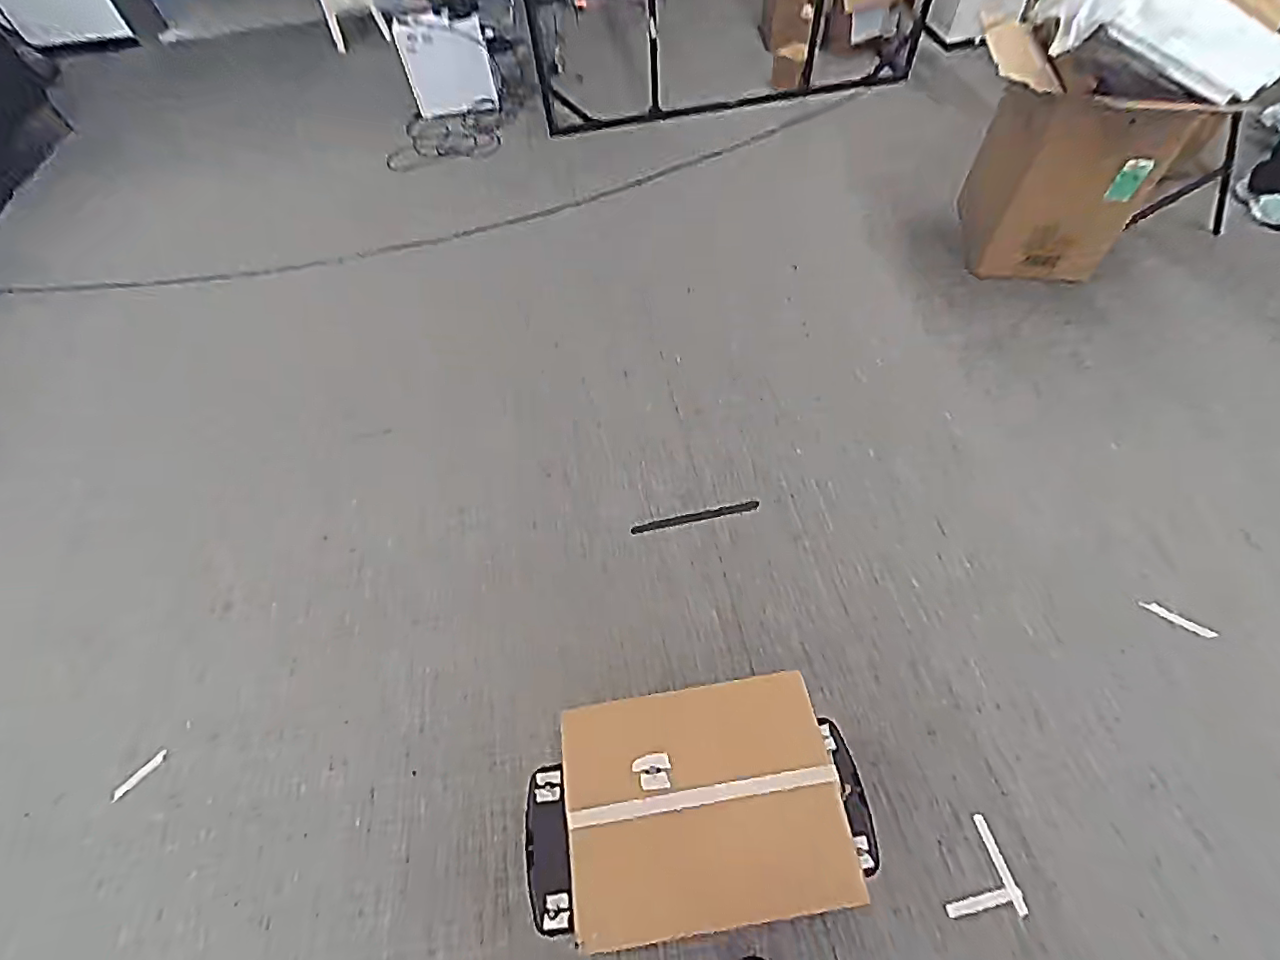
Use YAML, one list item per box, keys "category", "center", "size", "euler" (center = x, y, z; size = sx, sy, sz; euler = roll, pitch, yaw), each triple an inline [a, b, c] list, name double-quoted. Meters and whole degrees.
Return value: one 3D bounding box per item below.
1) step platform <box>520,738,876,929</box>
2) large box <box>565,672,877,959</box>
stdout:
- category: "step platform"
  center: [0.106, 0.708, 1.101]
  size: [0.684, 0.204, 0.286]
  euler: [-6, 57, 2]
- category: "large box"
  center: [0.112, 0.551, 0.917]
  size: [0.408, 0.320, 0.320]
  euler: [-10, 56, 0]
